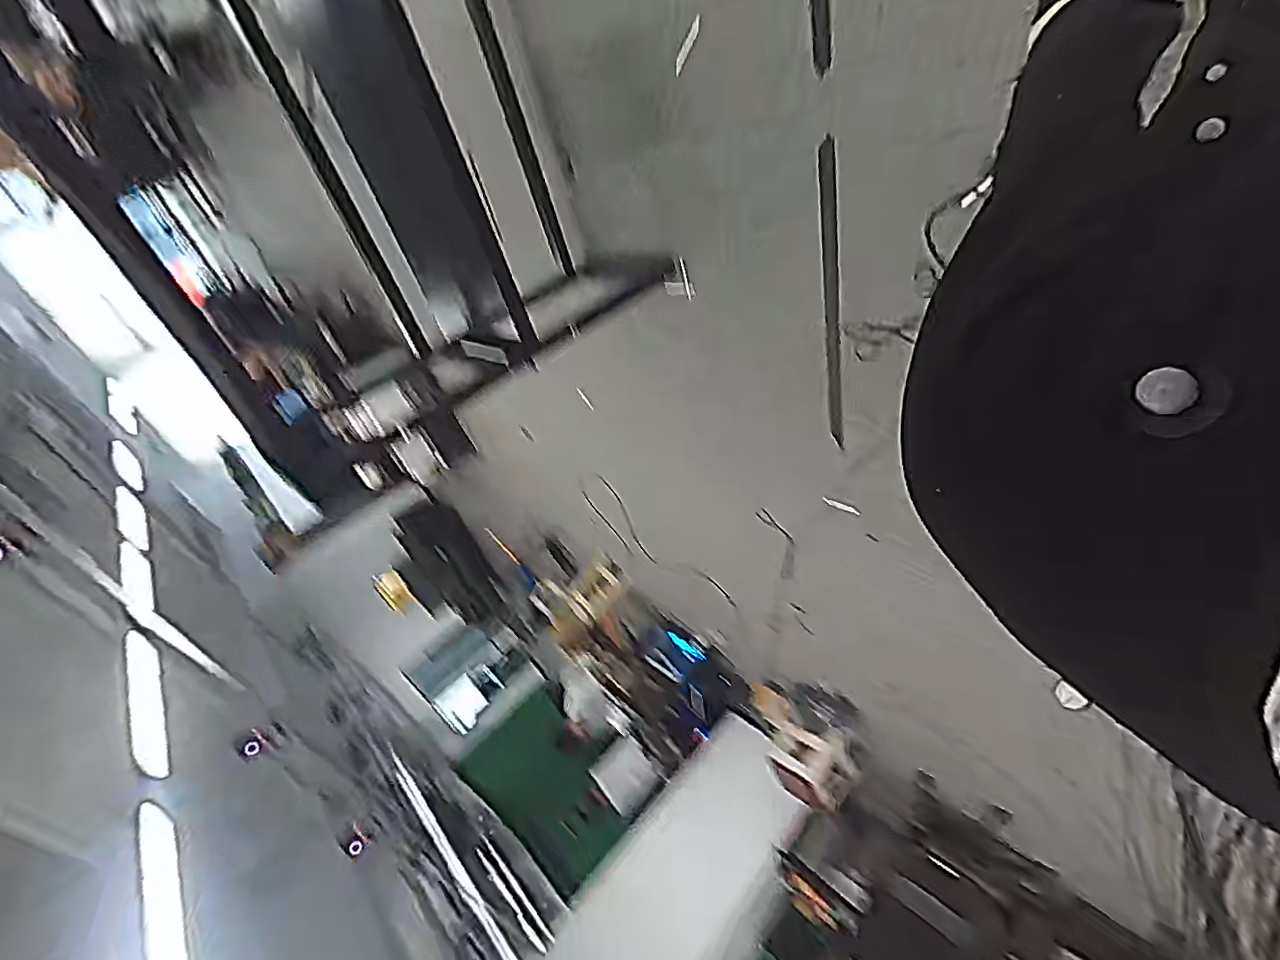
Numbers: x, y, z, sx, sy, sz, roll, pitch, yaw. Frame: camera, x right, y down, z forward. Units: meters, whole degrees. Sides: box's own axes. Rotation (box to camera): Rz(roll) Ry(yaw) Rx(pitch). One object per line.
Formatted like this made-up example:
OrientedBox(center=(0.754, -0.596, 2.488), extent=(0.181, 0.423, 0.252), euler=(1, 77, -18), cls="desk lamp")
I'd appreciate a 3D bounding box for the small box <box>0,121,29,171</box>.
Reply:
OrientedBox(center=(-1.232, -0.623, 0.940), extent=(0.179, 0.176, 0.168), euler=(25, 145, 42), cls="small box")
